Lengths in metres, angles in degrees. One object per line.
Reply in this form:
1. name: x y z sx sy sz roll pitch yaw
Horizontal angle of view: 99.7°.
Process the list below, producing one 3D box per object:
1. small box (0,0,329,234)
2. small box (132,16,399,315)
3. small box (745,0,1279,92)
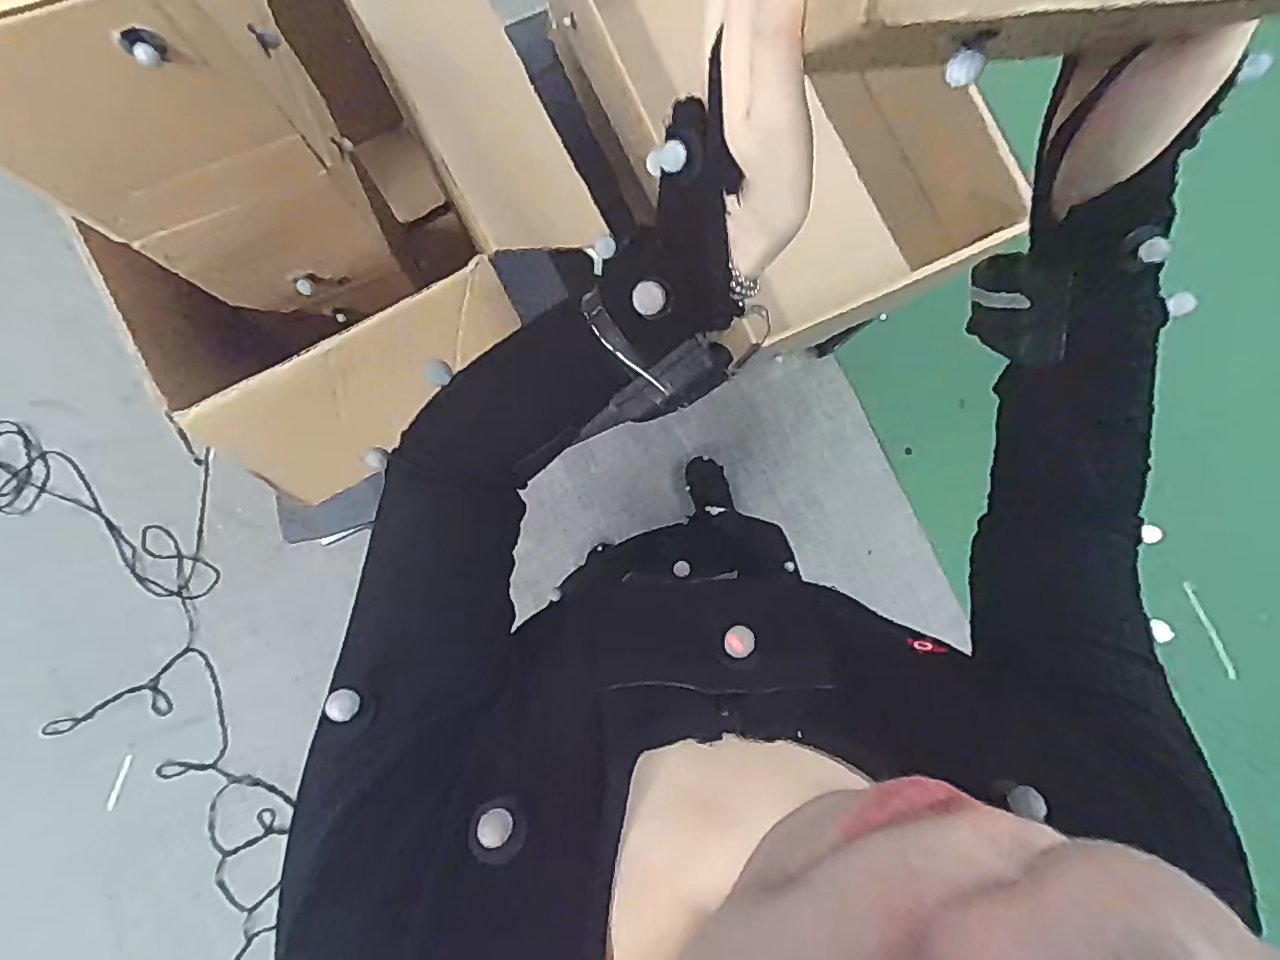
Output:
1. small box: -0.354 -0.298 0.360 0.179 0.176 0.168 -22 87 -6
2. small box: -0.365 -0.290 0.521 0.168 0.176 0.179 -23 89 -6
3. small box: 0.140 -0.251 0.195 0.179 0.176 0.168 -6 123 -1
